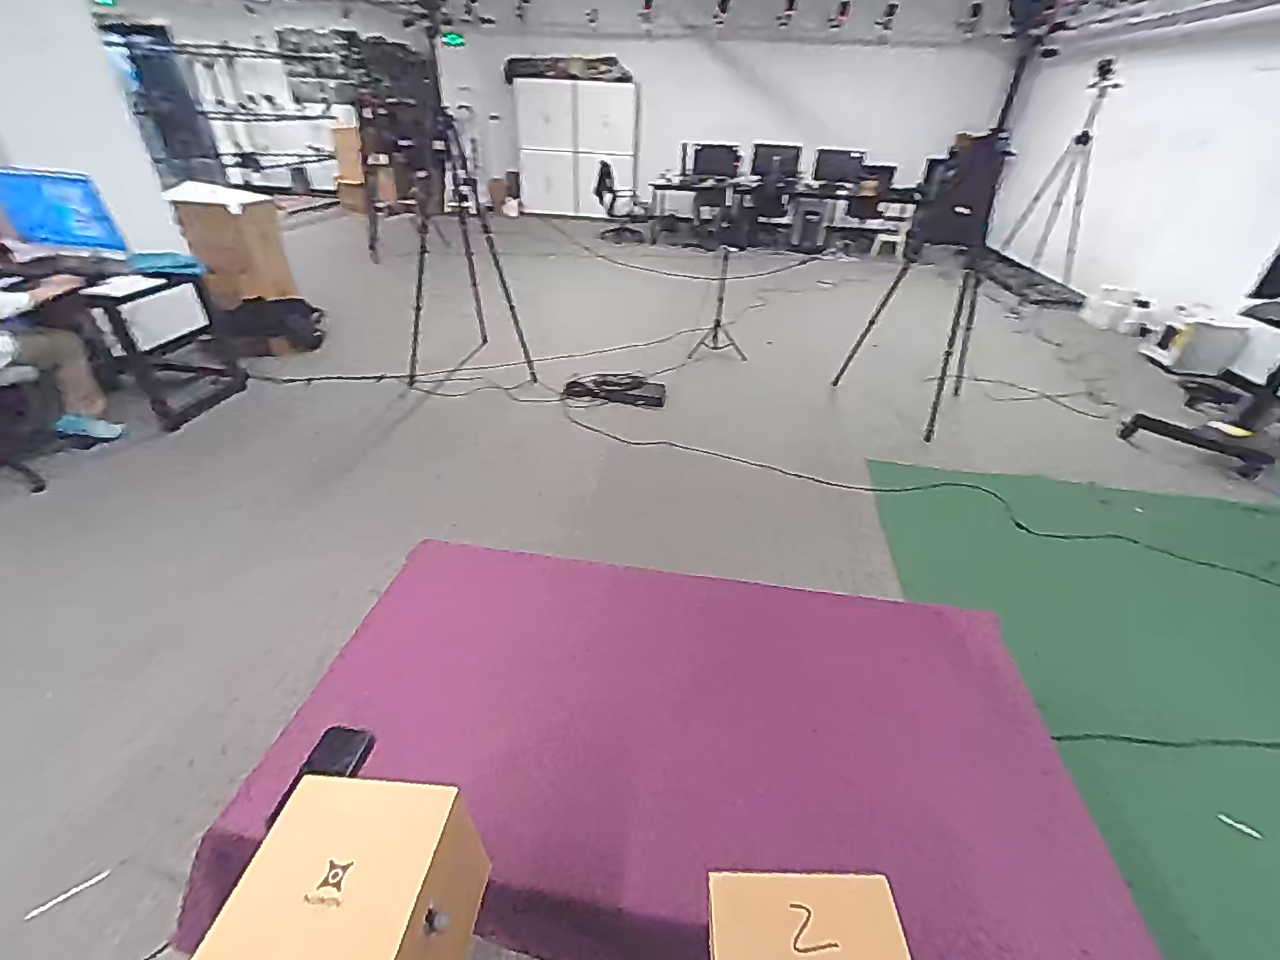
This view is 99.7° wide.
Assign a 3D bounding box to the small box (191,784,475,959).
[{"bbox_3d":[-0.270,0.425,0.514,0.168,0.176,0.179,1,34,5],"label":"small box"}]
